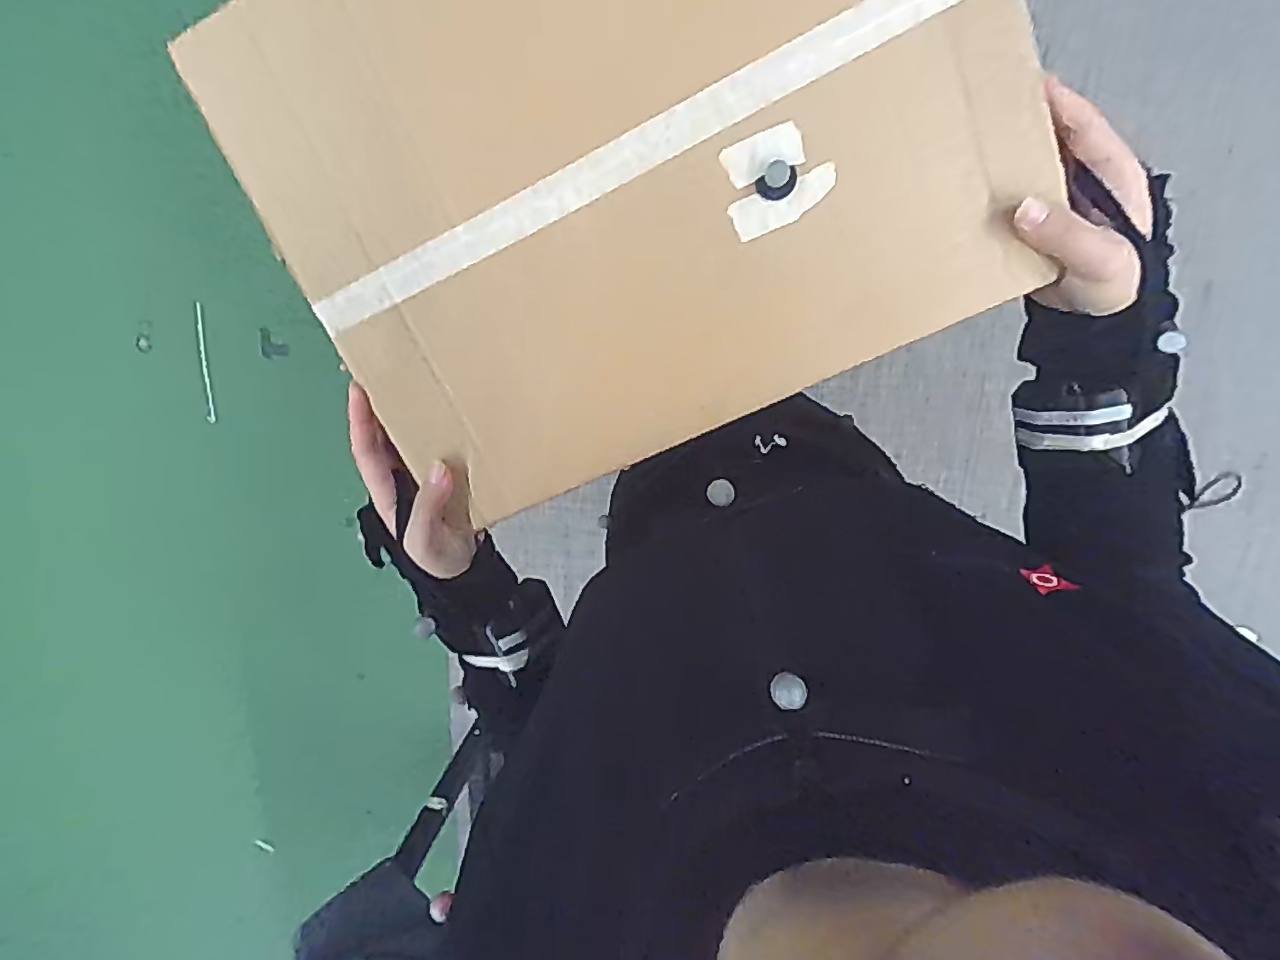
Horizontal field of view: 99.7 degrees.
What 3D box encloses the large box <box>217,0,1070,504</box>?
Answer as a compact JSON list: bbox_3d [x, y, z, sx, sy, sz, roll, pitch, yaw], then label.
[{"bbox_3d":[0.009,-0.230,0.445,0.408,0.320,0.320,-23,104,8],"label":"large box"}]
